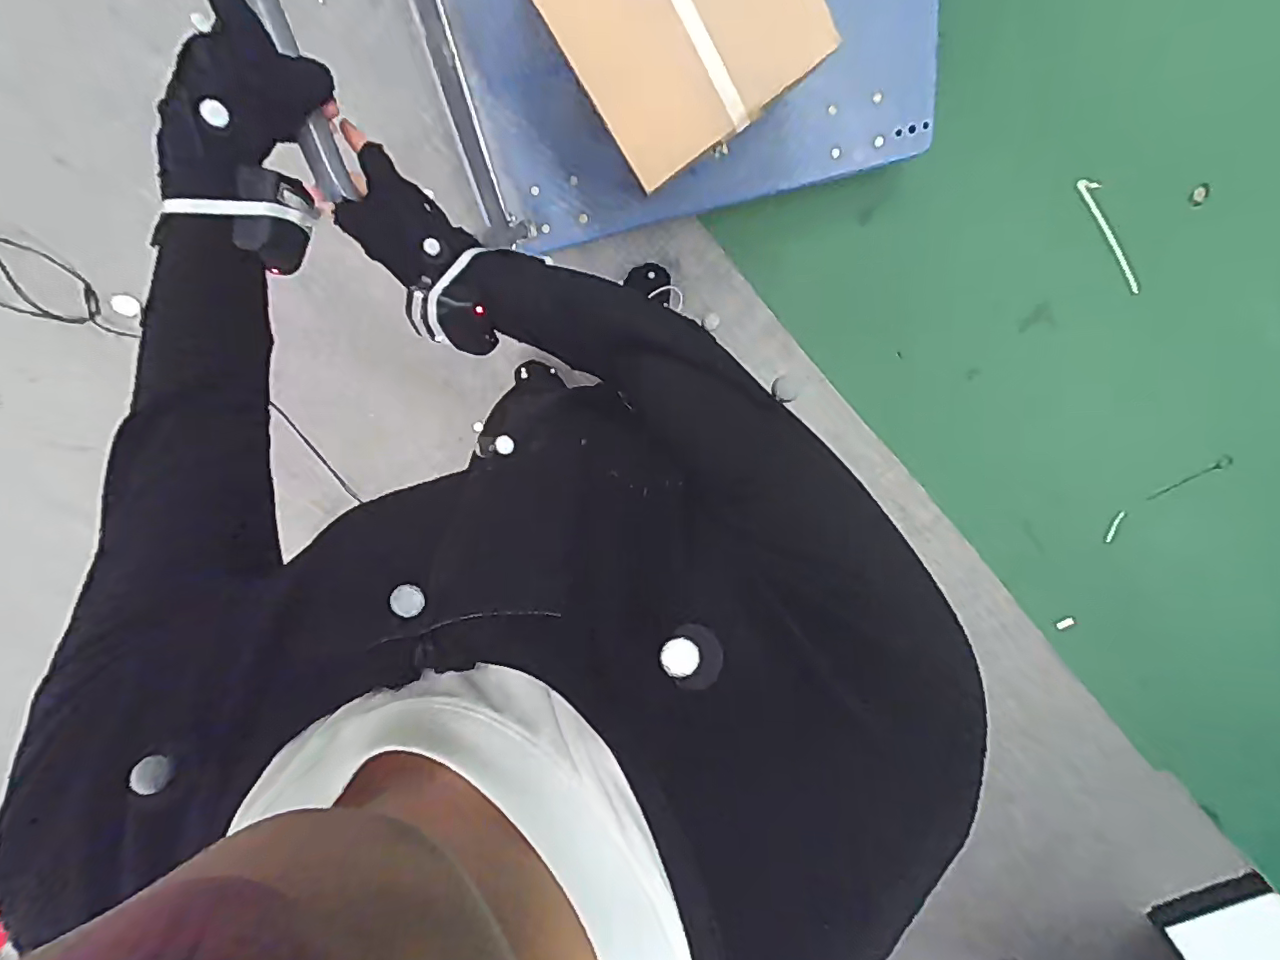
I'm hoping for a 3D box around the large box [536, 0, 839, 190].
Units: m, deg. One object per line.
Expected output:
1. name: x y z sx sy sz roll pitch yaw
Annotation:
1. large box: 0.037 -0.720 0.818 0.320 0.320 0.408 -30 111 15
